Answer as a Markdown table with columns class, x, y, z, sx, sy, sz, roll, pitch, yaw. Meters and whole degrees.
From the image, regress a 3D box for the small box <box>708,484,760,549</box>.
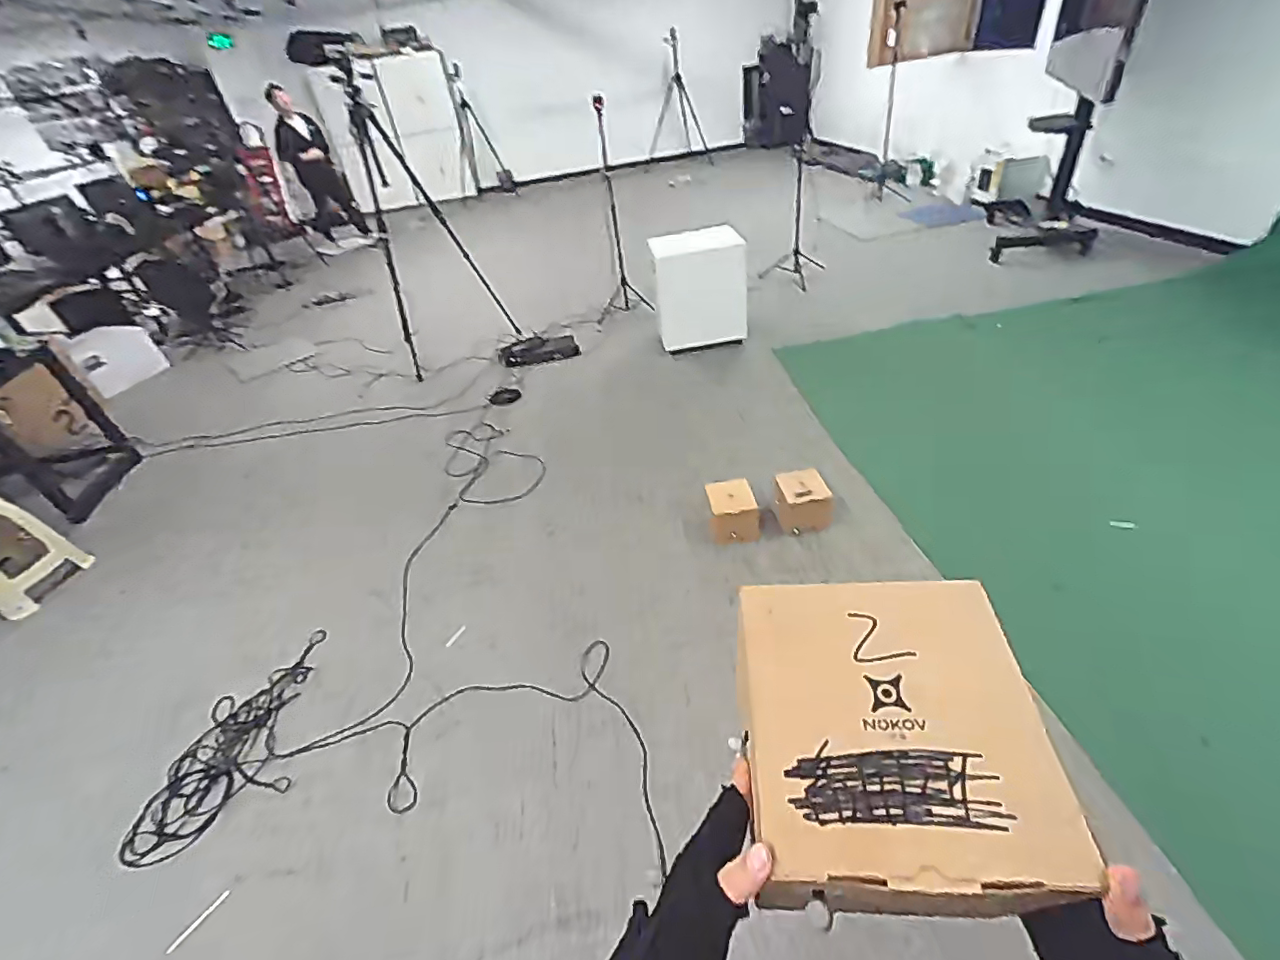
| class | x | y | z | sx | sy | sz | roll | pitch | yaw |
| --- | --- | --- | --- | --- | --- | --- | --- | --- | --- |
| small box | 0.355 | 0.140 | 2.072 | 0.168 | 0.176 | 0.179 | -9 | 38 | -1 |

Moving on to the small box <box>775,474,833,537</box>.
| class | x | y | z | sx | sy | sz | roll | pitch | yaw |
| --- | --- | --- | --- | --- | --- | --- | --- | --- | --- |
| small box | 0.621 | 0.104 | 2.067 | 0.168 | 0.176 | 0.179 | -9 | 37 | -1 |
